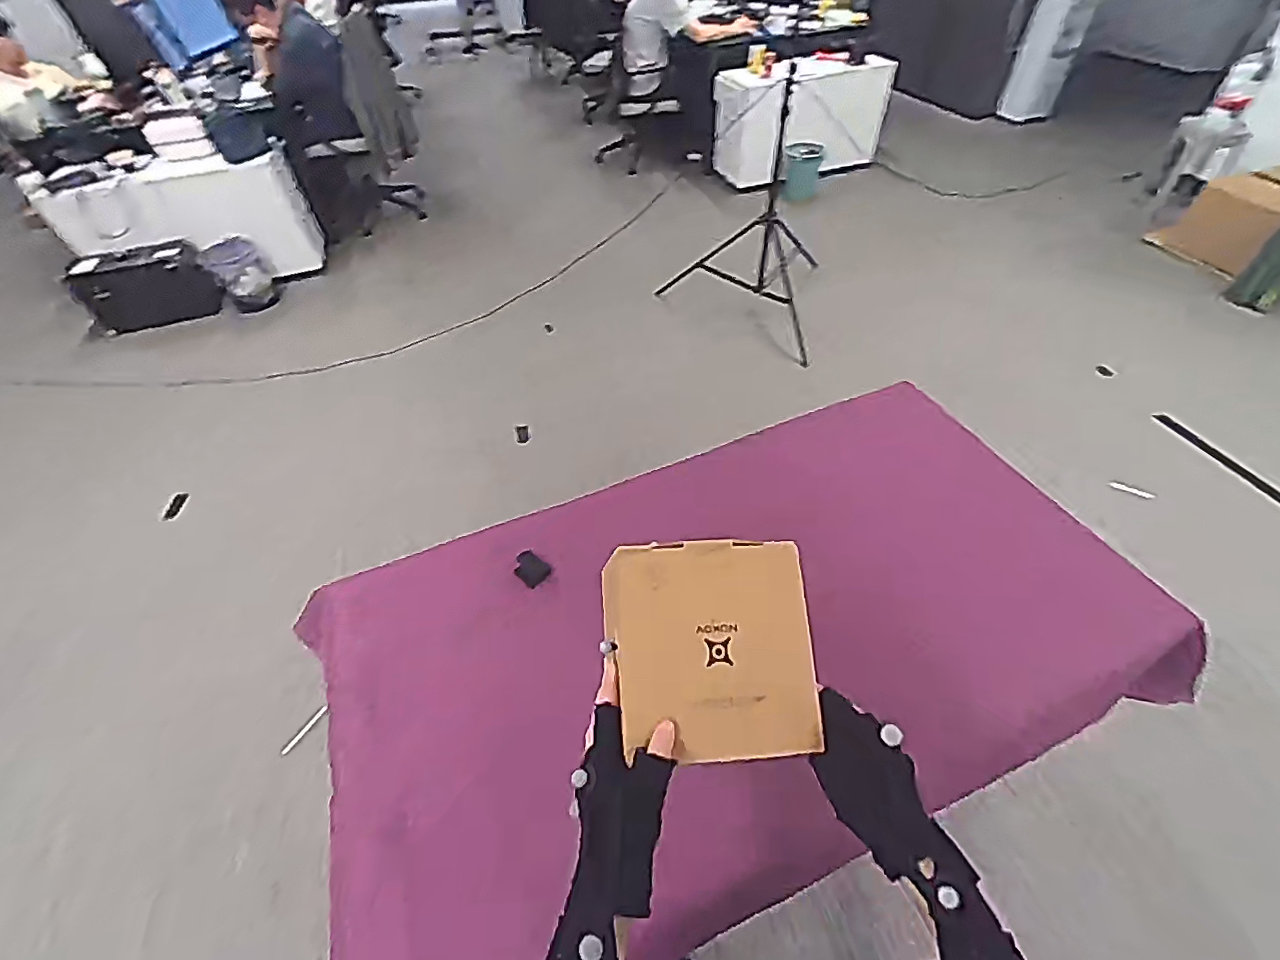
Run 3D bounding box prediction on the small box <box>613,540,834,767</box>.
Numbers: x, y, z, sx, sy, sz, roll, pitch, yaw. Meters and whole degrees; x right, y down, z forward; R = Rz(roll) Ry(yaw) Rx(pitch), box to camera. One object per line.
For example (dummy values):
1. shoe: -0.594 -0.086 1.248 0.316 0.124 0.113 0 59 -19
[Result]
1. small box: 0.063 0.160 0.527 0.168 0.176 0.179 -1 75 -7
